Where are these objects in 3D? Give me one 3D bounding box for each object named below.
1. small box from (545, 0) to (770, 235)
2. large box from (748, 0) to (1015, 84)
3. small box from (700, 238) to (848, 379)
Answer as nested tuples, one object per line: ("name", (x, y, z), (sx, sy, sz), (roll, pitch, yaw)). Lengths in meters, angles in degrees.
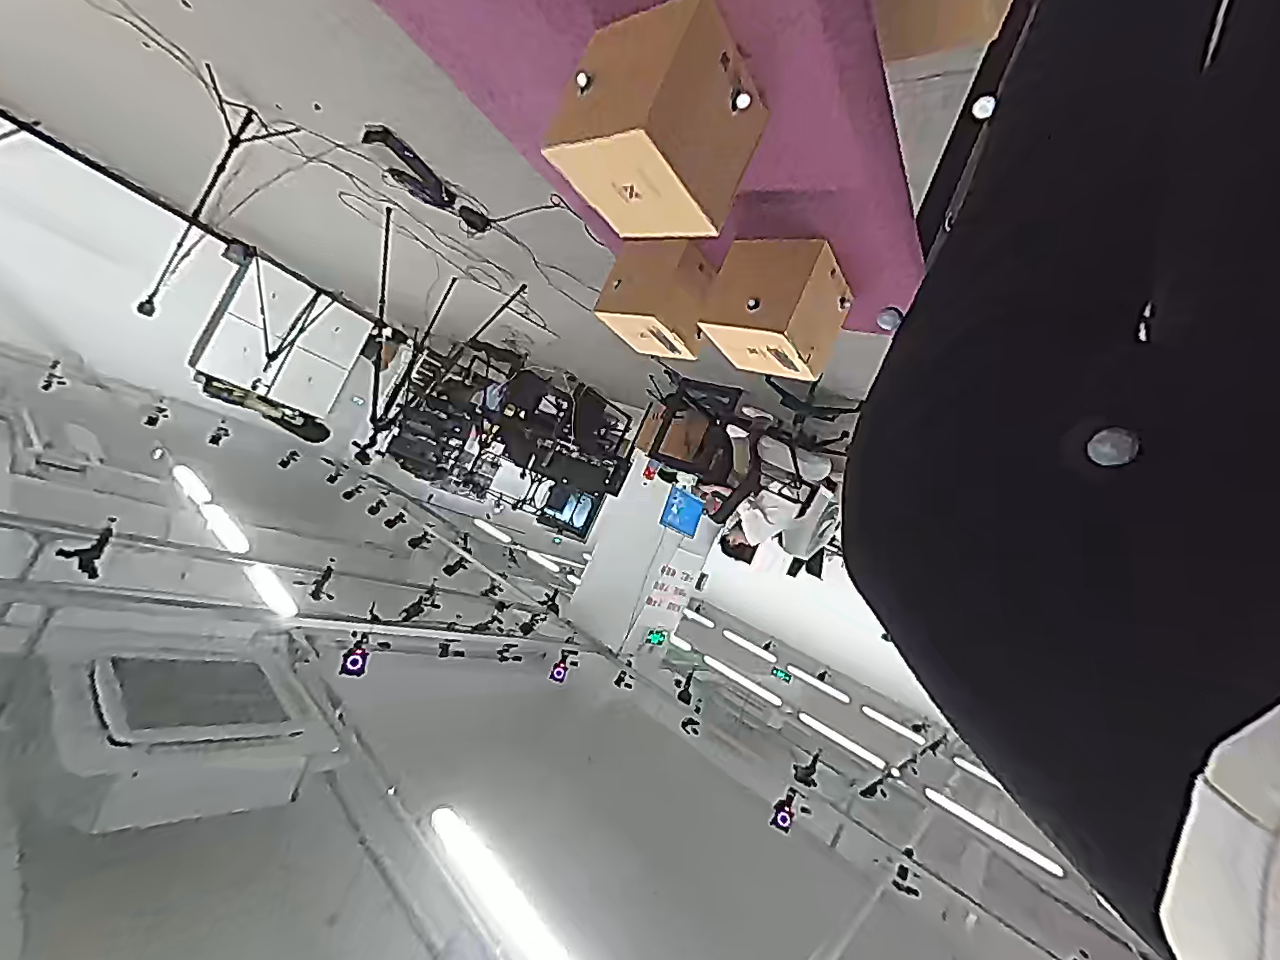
("small box", (0.025, -0.423, 0.649), (0.179, 0.176, 0.168), (22, 176, 40))
("large box", (0.417, -0.954, 0.891), (0.408, 0.320, 0.320), (22, 175, 41))
("small box", (0.241, -0.300, 0.942), (0.179, 0.176, 0.168), (23, 175, 40))
